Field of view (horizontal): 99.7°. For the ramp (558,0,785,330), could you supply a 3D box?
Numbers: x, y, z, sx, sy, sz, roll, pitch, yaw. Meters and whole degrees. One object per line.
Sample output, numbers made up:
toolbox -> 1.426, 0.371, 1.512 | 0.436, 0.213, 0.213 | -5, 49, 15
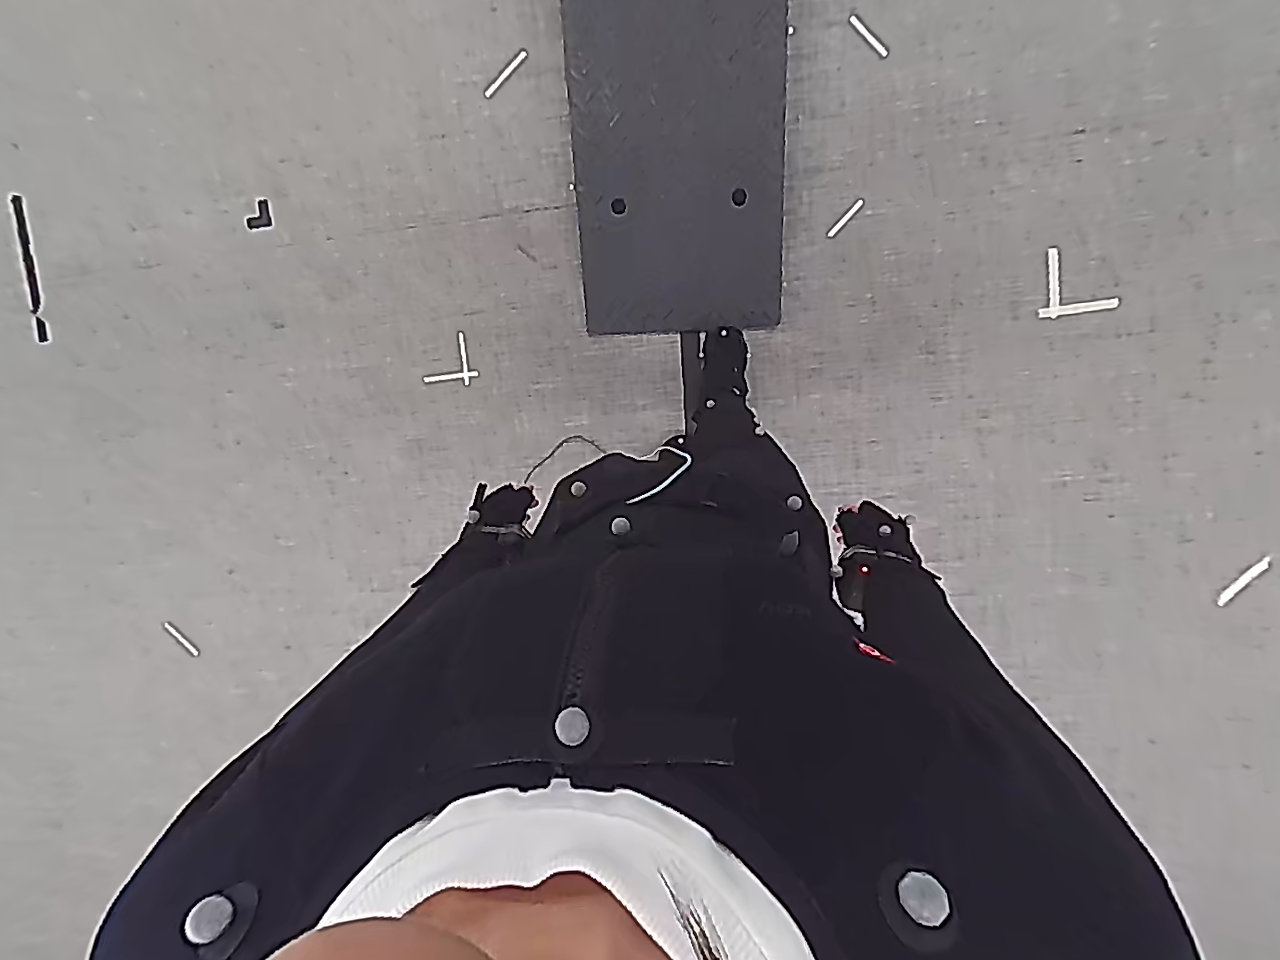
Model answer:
ramp -> 0.077, -0.865, 1.213 | 0.509, 0.206, 0.991 | -3, 99, 5
